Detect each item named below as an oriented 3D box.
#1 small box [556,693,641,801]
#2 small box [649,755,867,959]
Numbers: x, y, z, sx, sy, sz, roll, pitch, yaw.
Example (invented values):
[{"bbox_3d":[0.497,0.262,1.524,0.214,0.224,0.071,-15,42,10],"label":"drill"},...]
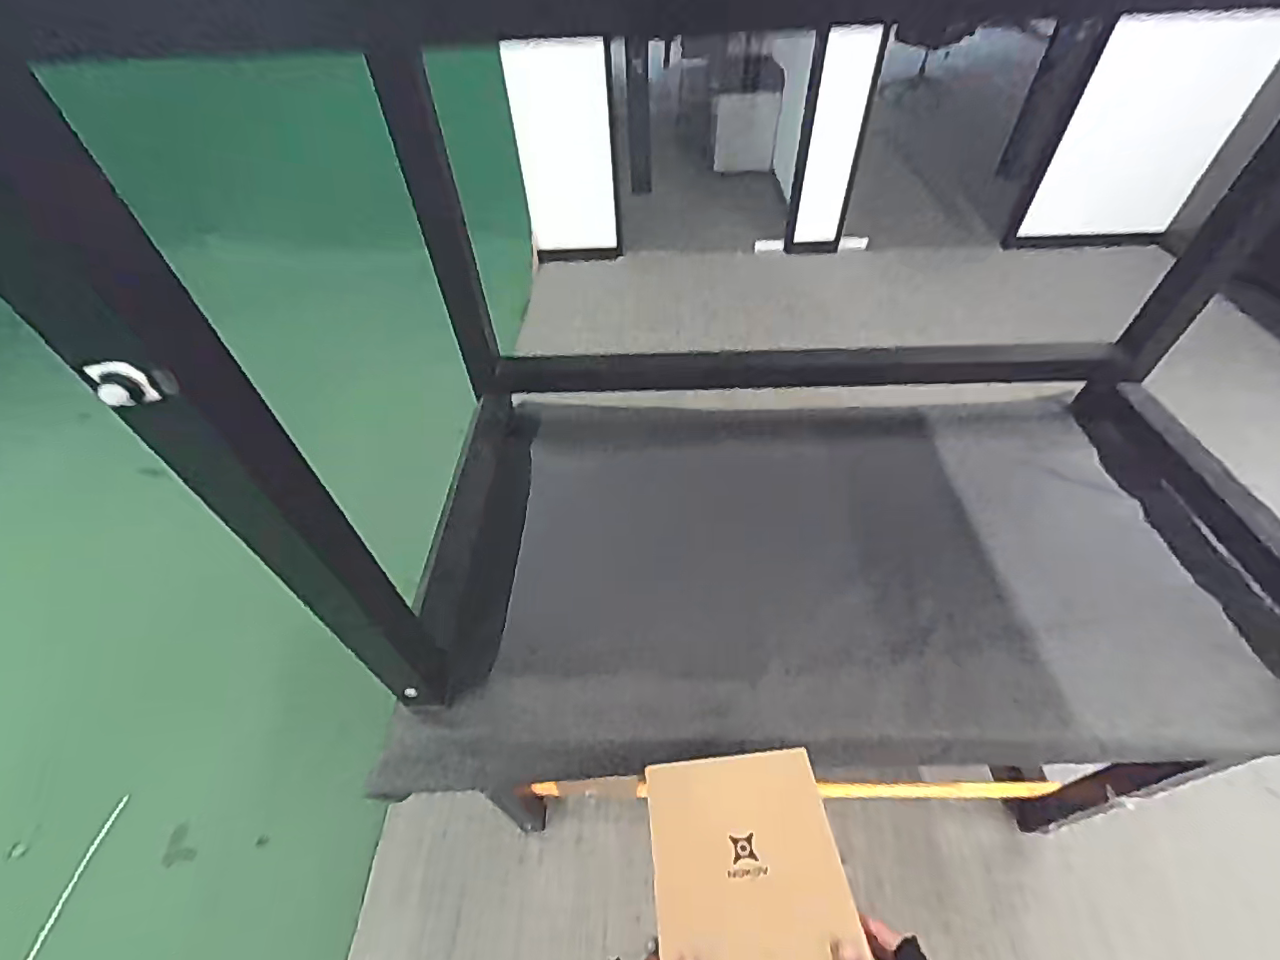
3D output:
[{"bbox_3d":[-0.084,0.579,1.172,0.168,0.176,0.179,-1,49,1],"label":"small box"},{"bbox_3d":[0.099,0.403,0.529,0.168,0.176,0.179,-6,36,0],"label":"small box"}]
